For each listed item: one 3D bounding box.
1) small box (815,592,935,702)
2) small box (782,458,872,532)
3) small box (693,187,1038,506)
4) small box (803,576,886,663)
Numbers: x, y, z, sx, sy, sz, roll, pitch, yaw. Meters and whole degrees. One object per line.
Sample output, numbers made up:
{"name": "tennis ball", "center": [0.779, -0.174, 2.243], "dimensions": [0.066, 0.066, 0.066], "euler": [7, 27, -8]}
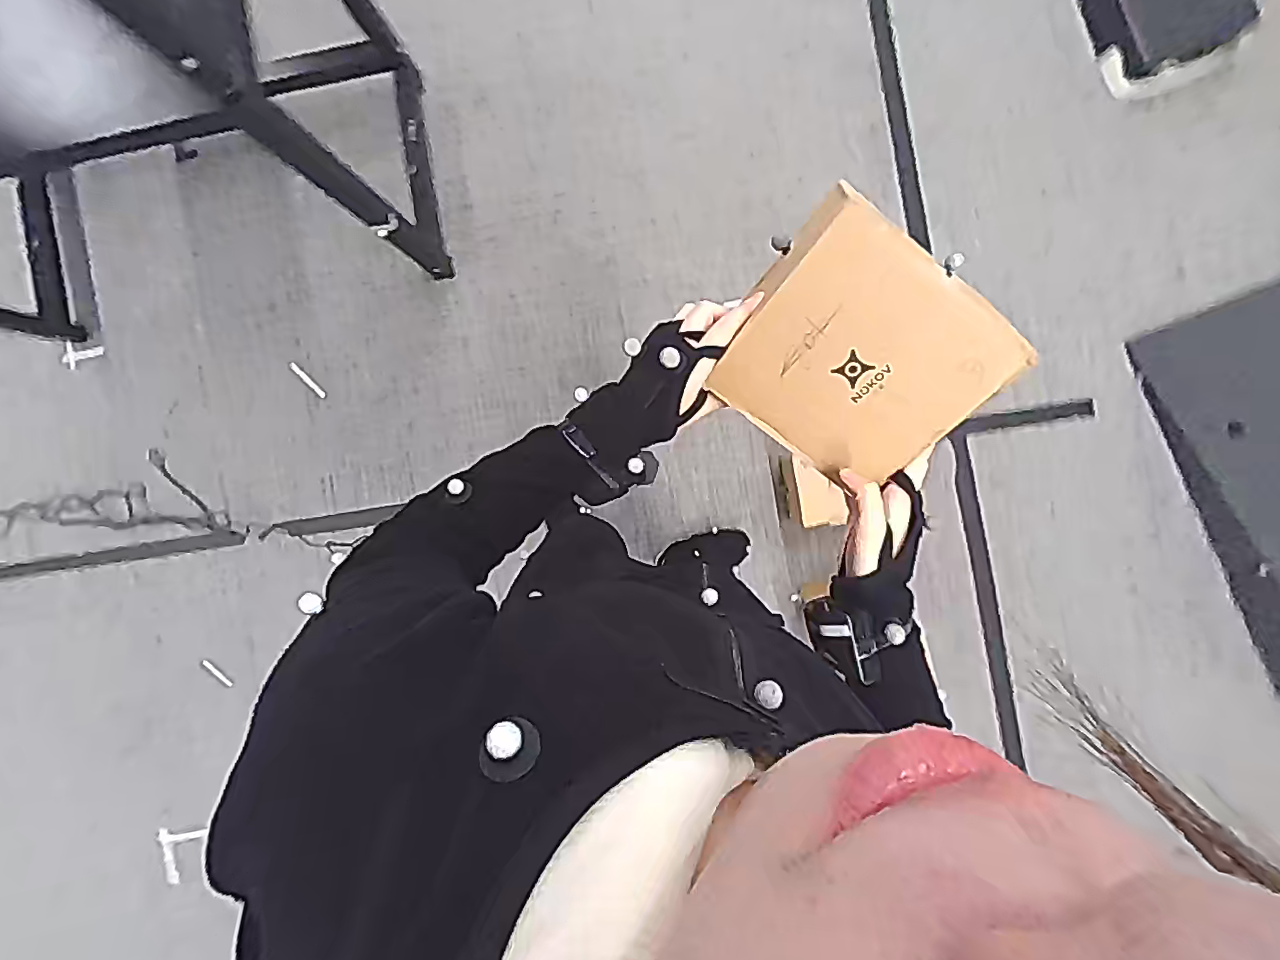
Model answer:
{"name": "small box", "center": [0.507, 0.358, 1.188], "dimensions": [0.179, 0.176, 0.168], "euler": [-15, 90, 5]}
{"name": "small box", "center": [0.458, 0.022, 1.346], "dimensions": [0.168, 0.176, 0.179], "euler": [-9, 92, 5]}
{"name": "small box", "center": [0.172, -0.118, 0.453], "dimensions": [0.179, 0.176, 0.168], "euler": [35, 125, -7]}
{"name": "small box", "center": [0.520, 0.352, 1.353], "dimensions": [0.179, 0.176, 0.168], "euler": [-16, 91, 4]}
